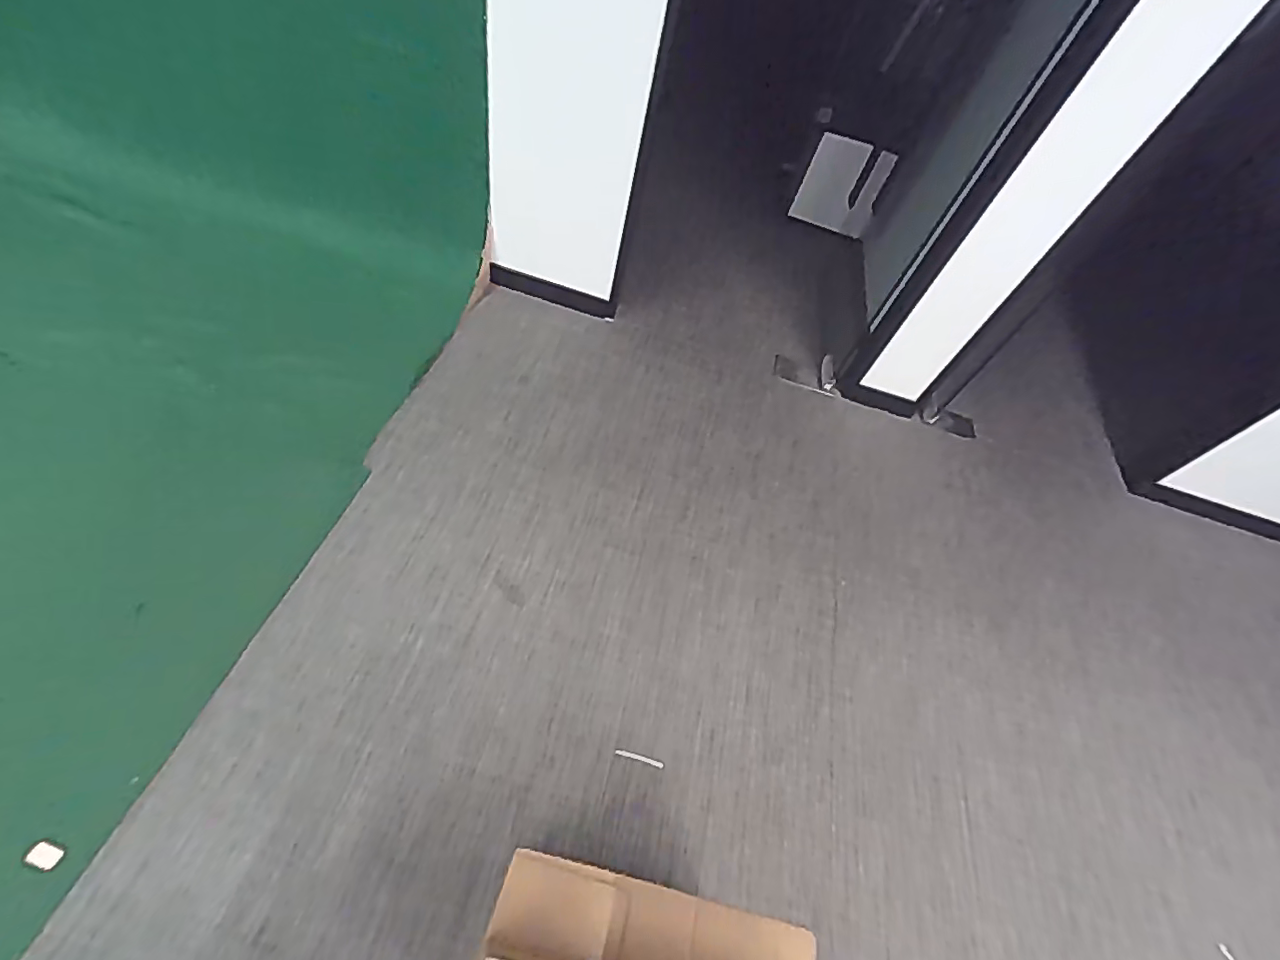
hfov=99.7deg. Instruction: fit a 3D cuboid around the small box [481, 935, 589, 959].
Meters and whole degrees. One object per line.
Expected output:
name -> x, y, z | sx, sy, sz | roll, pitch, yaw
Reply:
small box -> -0.099, 0.570, 0.510 | 0.168, 0.176, 0.179 | 18, 54, -3
